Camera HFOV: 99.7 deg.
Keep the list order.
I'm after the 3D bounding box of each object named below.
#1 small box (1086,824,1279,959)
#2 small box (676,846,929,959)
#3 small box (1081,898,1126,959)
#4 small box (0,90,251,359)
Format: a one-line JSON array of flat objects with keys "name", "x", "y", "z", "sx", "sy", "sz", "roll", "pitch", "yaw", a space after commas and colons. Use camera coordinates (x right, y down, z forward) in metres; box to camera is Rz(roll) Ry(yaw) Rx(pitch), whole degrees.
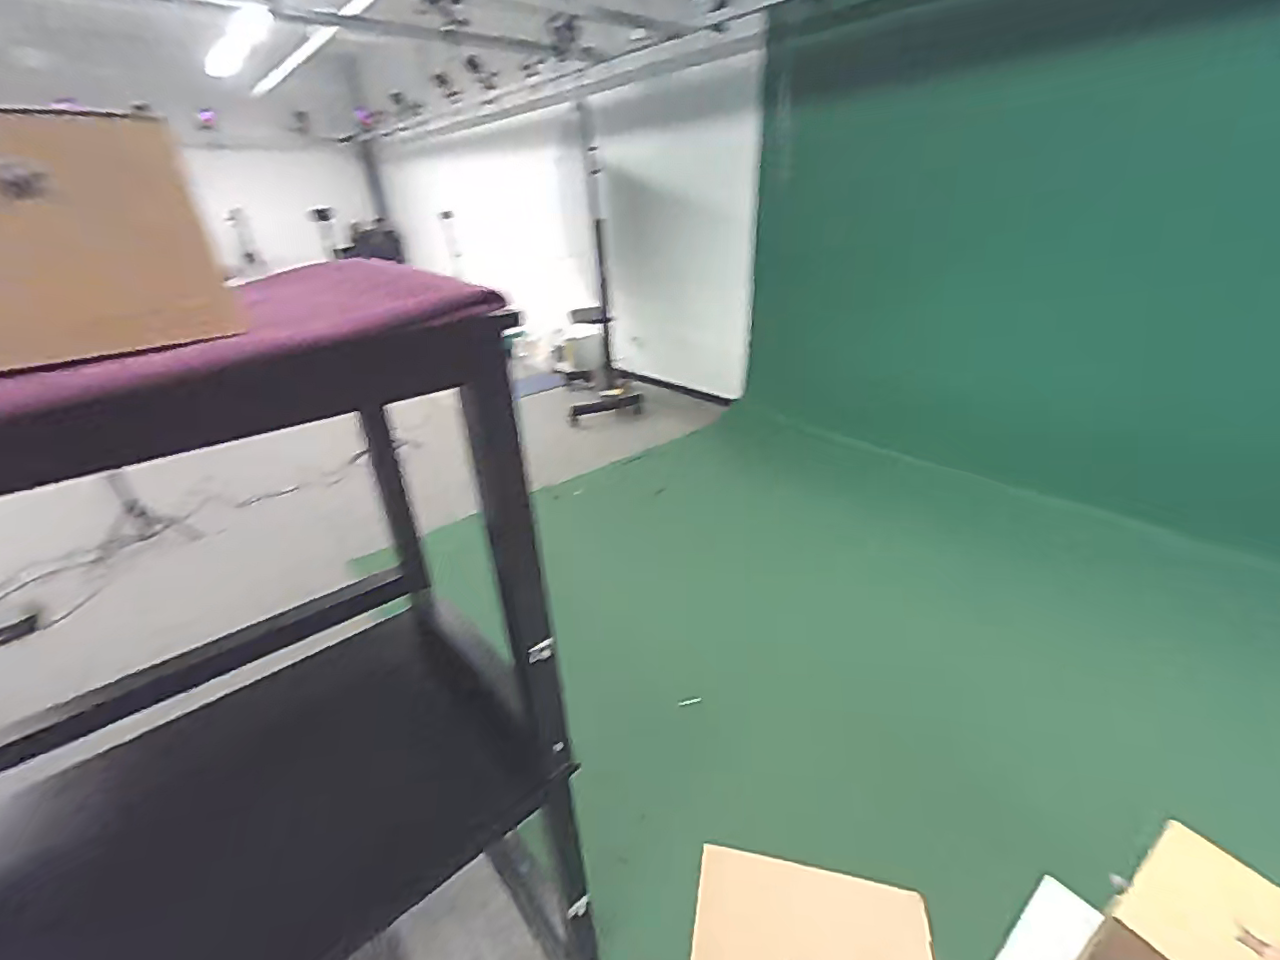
[{"name": "small box", "x": 0.577, "y": 0.501, "z": 0.528, "sx": 0.168, "sy": 0.176, "sz": 0.179, "roll": -18, "pitch": 32, "yaw": -28}, {"name": "small box", "x": 0.111, "y": 0.417, "z": 0.399, "sx": 0.179, "sy": 0.176, "sz": 0.168, "roll": 6, "pitch": 30, "yaw": 10}, {"name": "small box", "x": 0.584, "y": 0.643, "z": 0.607, "sx": 0.179, "sy": 0.176, "sz": 0.168, "roll": -21, "pitch": 33, "yaw": -29}, {"name": "small box", "x": -0.468, "y": -0.206, "z": 0.453, "sx": 0.179, "sy": 0.176, "sz": 0.168, "roll": -24, "pitch": 32, "yaw": -35}]
